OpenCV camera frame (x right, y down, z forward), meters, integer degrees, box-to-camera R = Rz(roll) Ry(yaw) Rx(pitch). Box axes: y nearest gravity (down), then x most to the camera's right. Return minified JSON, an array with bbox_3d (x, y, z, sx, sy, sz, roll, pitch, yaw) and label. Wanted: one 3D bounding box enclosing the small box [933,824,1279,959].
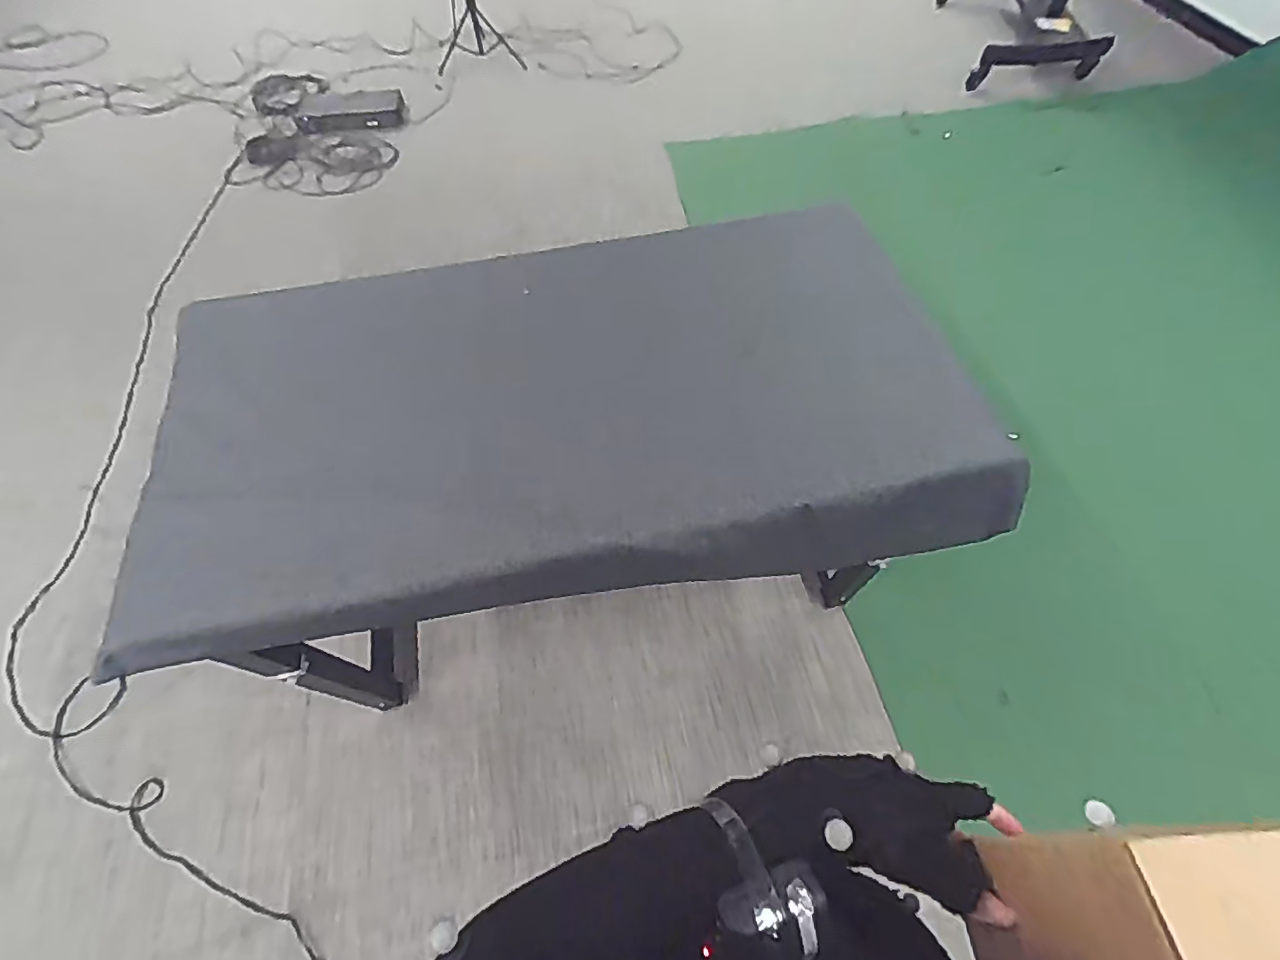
[{"bbox_3d":[0.300,0.292,0.292,0.168,0.176,0.179,1,55,-5],"label":"small box"}]
